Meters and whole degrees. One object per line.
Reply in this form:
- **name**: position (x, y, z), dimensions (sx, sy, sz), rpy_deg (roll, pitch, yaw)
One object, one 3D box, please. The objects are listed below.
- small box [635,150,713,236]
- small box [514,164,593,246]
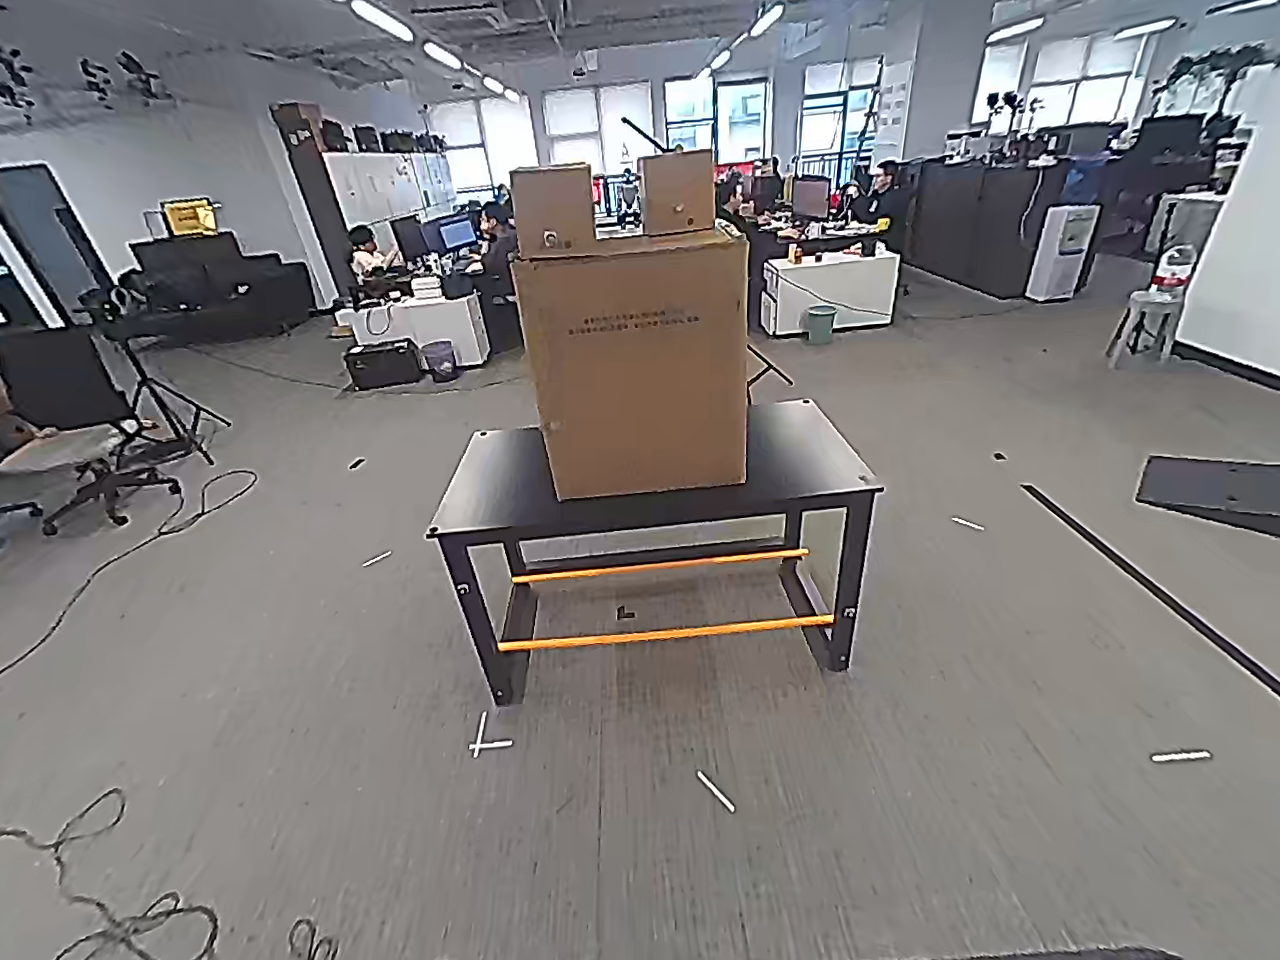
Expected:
- **small box**: position (0.081, -0.704, 1.332), dimensions (0.168, 0.176, 0.179), rpy_deg (-8, 30, -1)
- **small box**: position (-0.212, -0.691, 1.361), dimensions (0.168, 0.176, 0.179), rpy_deg (-6, 29, -1)
